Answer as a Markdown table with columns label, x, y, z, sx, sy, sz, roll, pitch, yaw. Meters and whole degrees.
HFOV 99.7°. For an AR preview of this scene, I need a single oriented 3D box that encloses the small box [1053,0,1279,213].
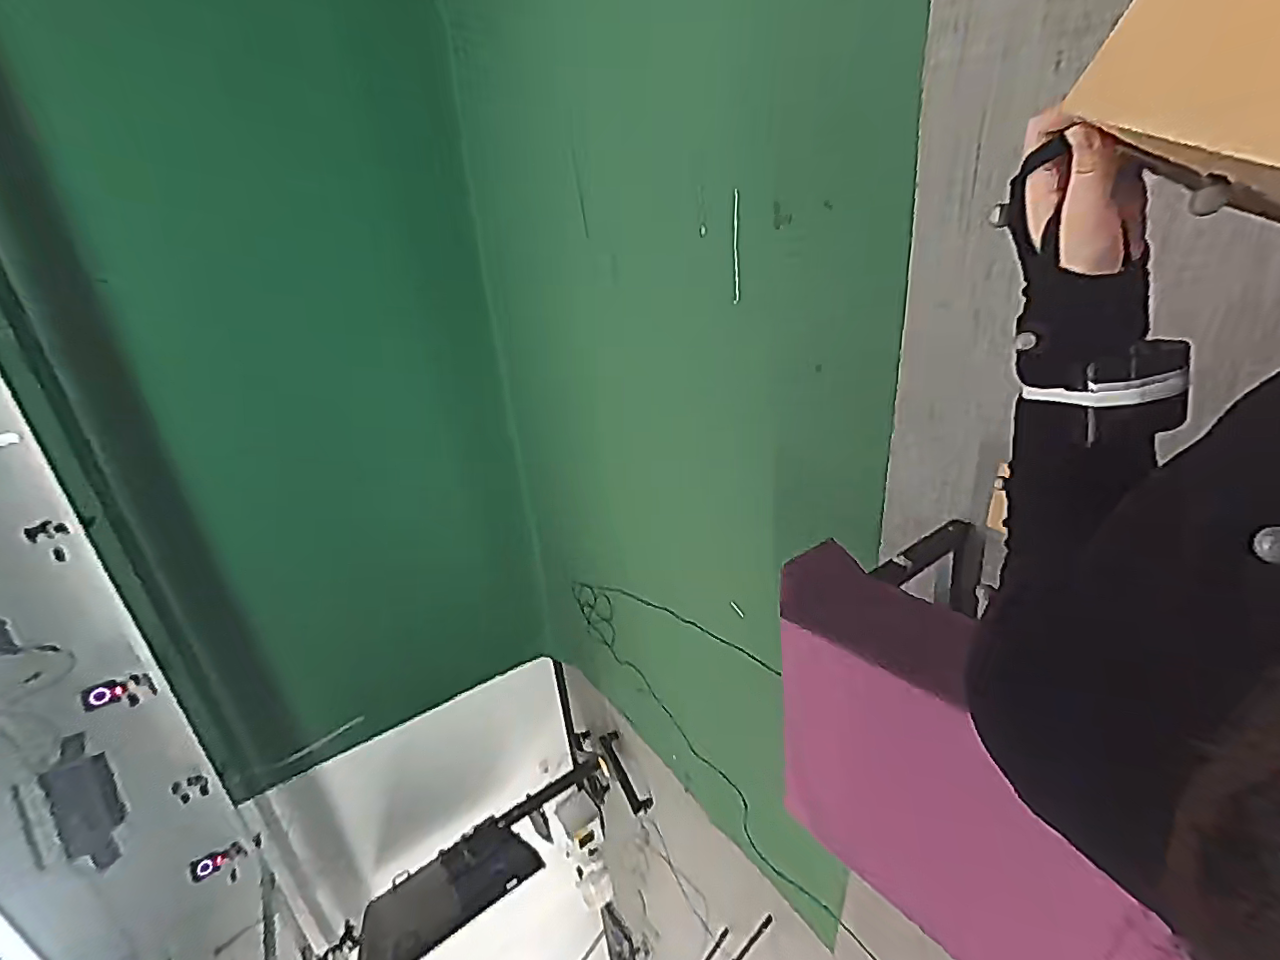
| label | x | y | z | sx | sy | sz | roll | pitch | yaw |
| --- | --- | --- | --- | --- | --- | --- | --- | --- | --- |
| small box | 0.353 | -0.219 | 0.236 | 0.168 | 0.176 | 0.179 | 61 | 139 | 39 |
